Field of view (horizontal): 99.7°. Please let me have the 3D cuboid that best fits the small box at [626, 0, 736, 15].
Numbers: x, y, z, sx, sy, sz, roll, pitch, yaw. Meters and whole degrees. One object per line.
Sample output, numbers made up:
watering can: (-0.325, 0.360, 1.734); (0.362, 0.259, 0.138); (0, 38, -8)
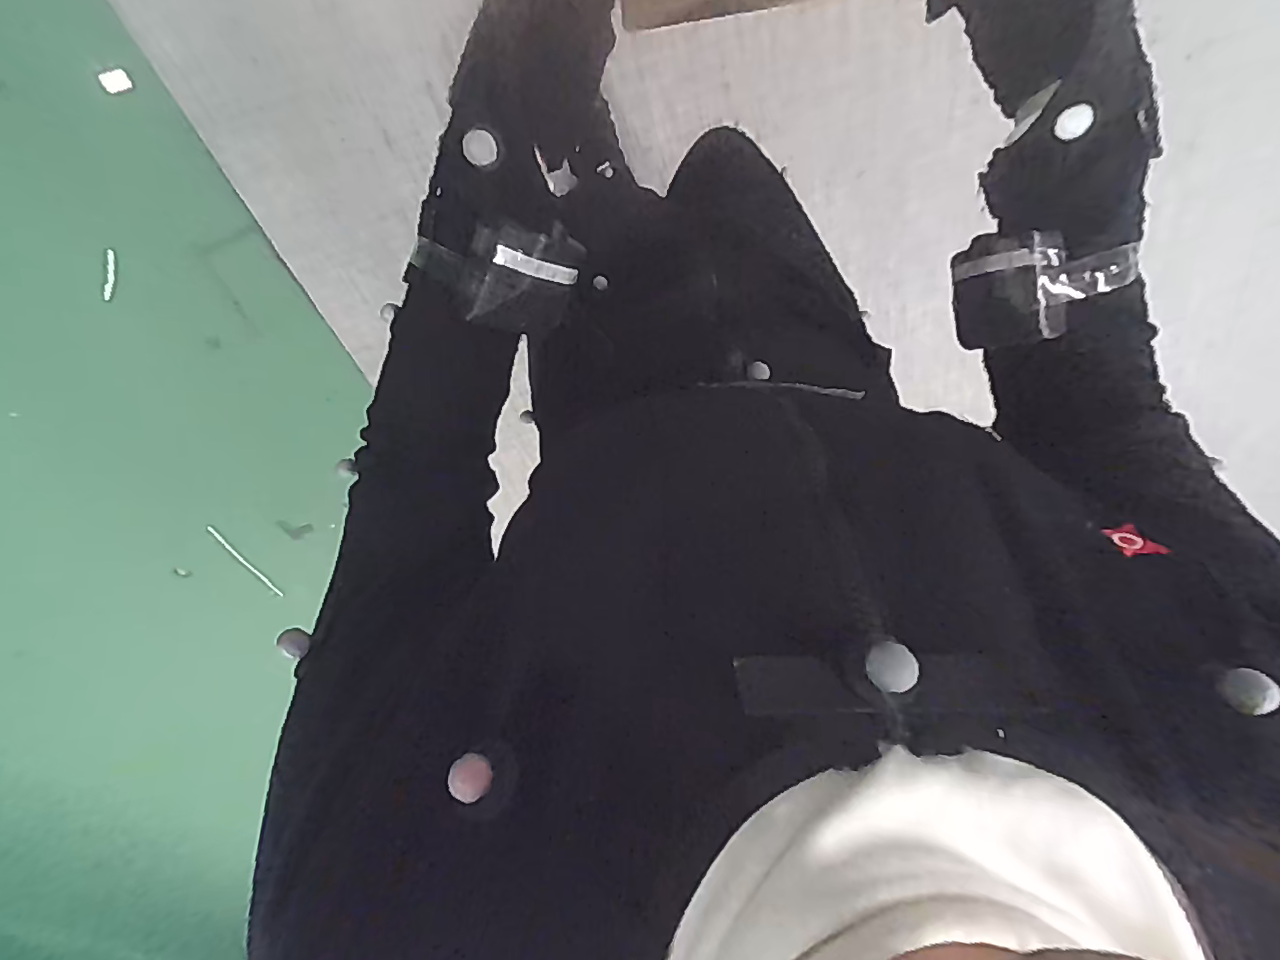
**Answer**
small box: (0.057, -0.377, 0.278); (0.168, 0.176, 0.179); (-8, 115, 2)
